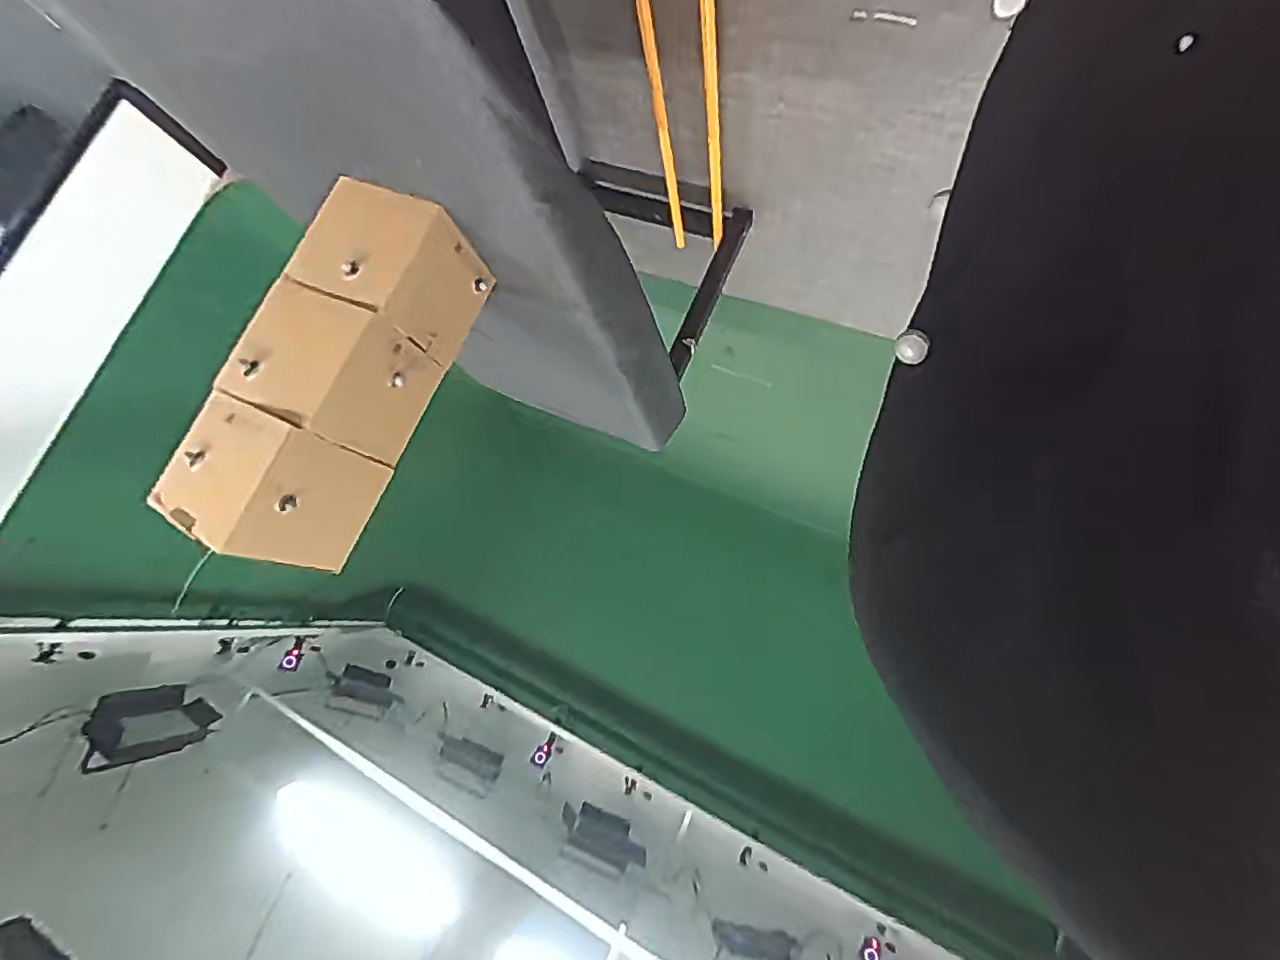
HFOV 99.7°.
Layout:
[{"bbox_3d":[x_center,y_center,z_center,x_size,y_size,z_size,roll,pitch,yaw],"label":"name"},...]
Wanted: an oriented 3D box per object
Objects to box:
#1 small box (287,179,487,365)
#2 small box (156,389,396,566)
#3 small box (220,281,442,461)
[{"bbox_3d":[-0.346,-0.297,0.780,0.179,0.176,0.168,23,172,15],"label":"small box"},{"bbox_3d":[-0.479,-0.002,0.733,0.168,0.176,0.179,23,172,23],"label":"small box"},{"bbox_3d":[-0.416,-0.150,0.756,0.179,0.176,0.168,22,172,17],"label":"small box"}]
